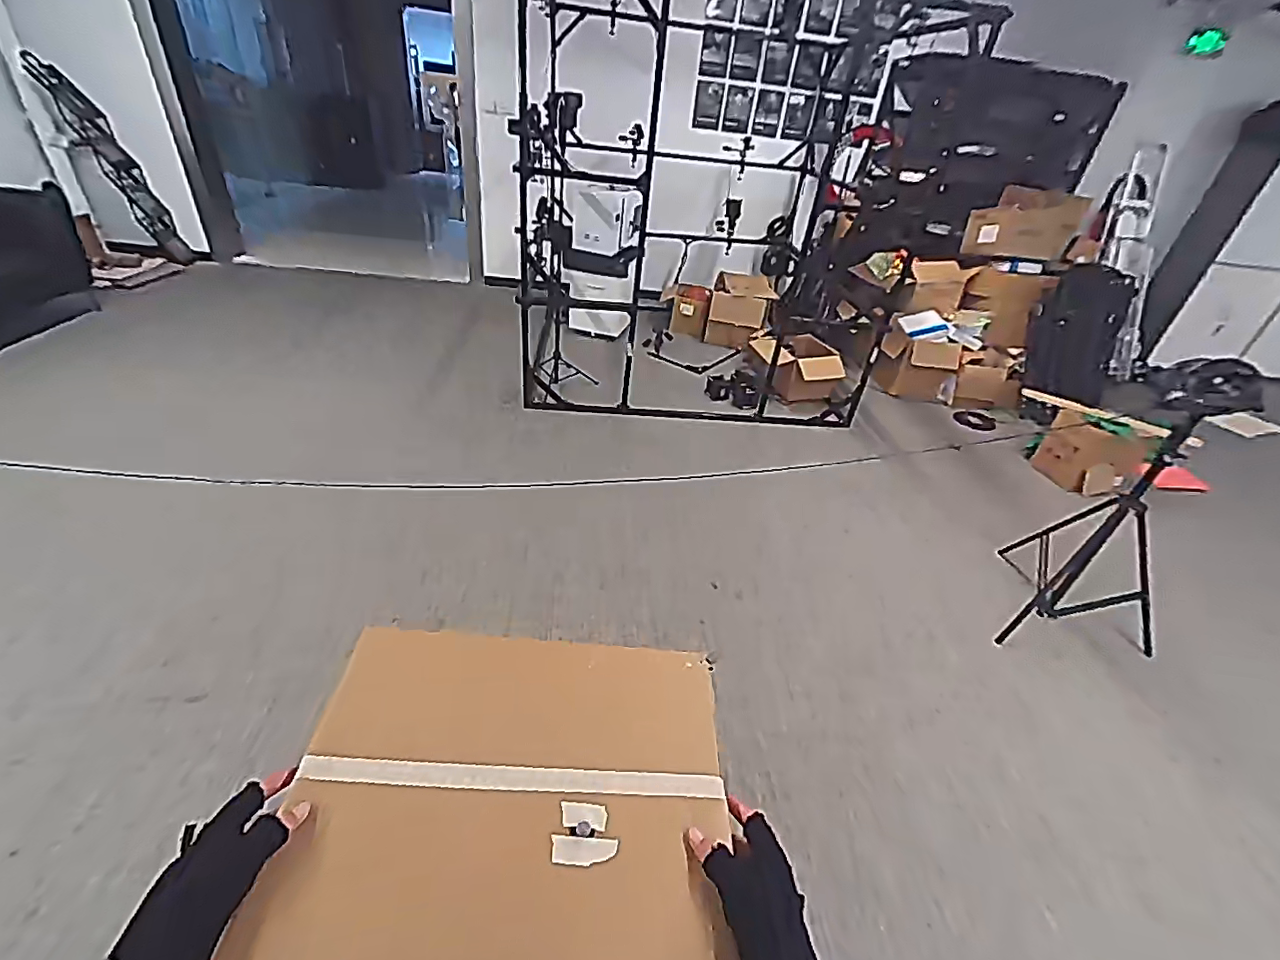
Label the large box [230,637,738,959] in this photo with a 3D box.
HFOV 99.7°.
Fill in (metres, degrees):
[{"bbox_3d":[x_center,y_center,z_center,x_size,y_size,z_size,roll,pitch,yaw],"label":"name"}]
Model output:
[{"bbox_3d":[-0.140,0.413,0.624,0.408,0.320,0.320,6,39,-5],"label":"large box"}]
